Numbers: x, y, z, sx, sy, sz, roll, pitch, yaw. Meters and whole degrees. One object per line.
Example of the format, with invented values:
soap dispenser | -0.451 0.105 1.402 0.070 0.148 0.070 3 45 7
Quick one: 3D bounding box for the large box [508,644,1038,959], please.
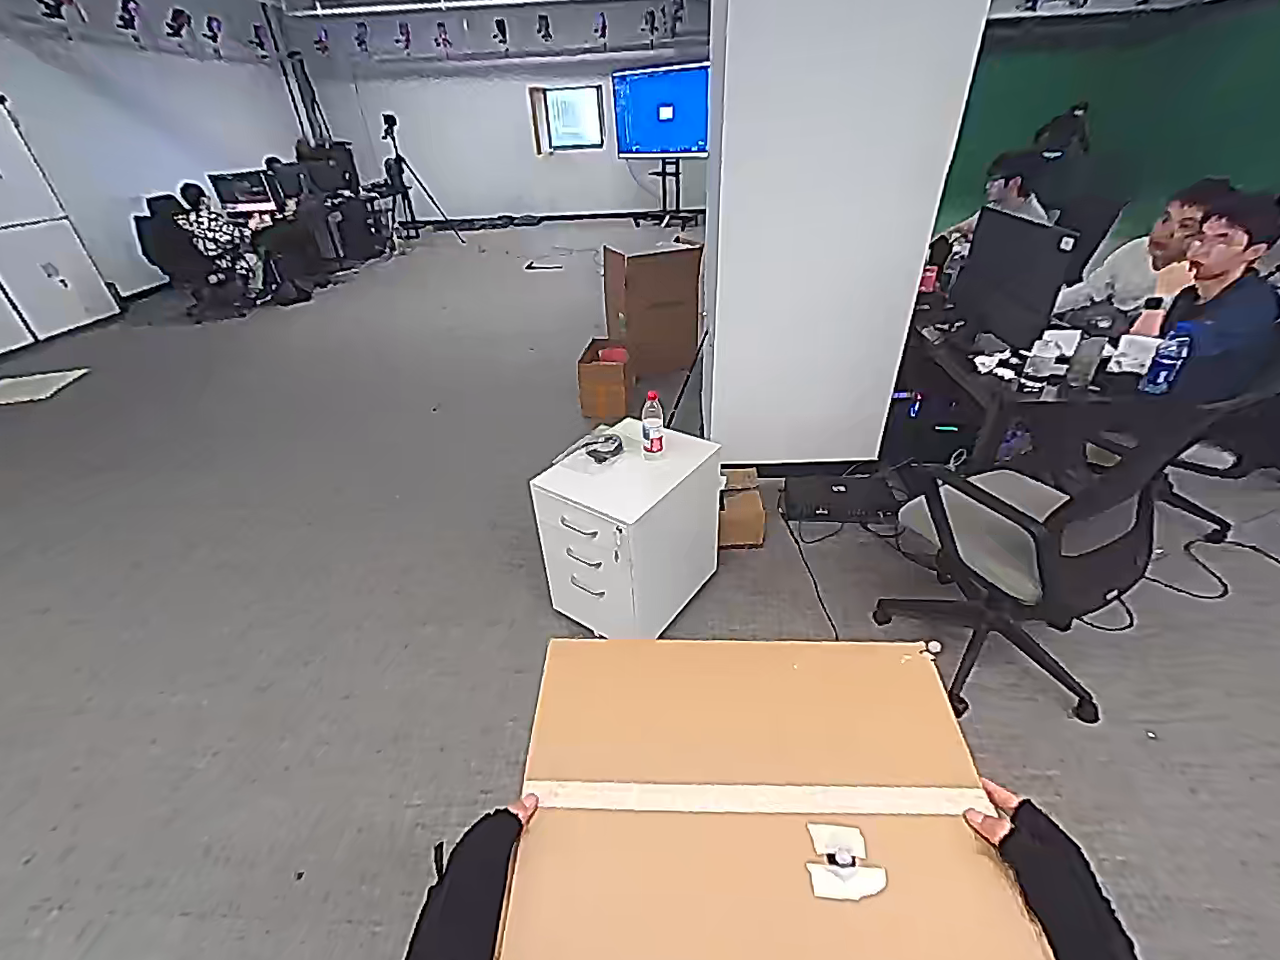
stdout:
large box | 0.104 0.396 0.584 0.408 0.320 0.320 0 43 3
